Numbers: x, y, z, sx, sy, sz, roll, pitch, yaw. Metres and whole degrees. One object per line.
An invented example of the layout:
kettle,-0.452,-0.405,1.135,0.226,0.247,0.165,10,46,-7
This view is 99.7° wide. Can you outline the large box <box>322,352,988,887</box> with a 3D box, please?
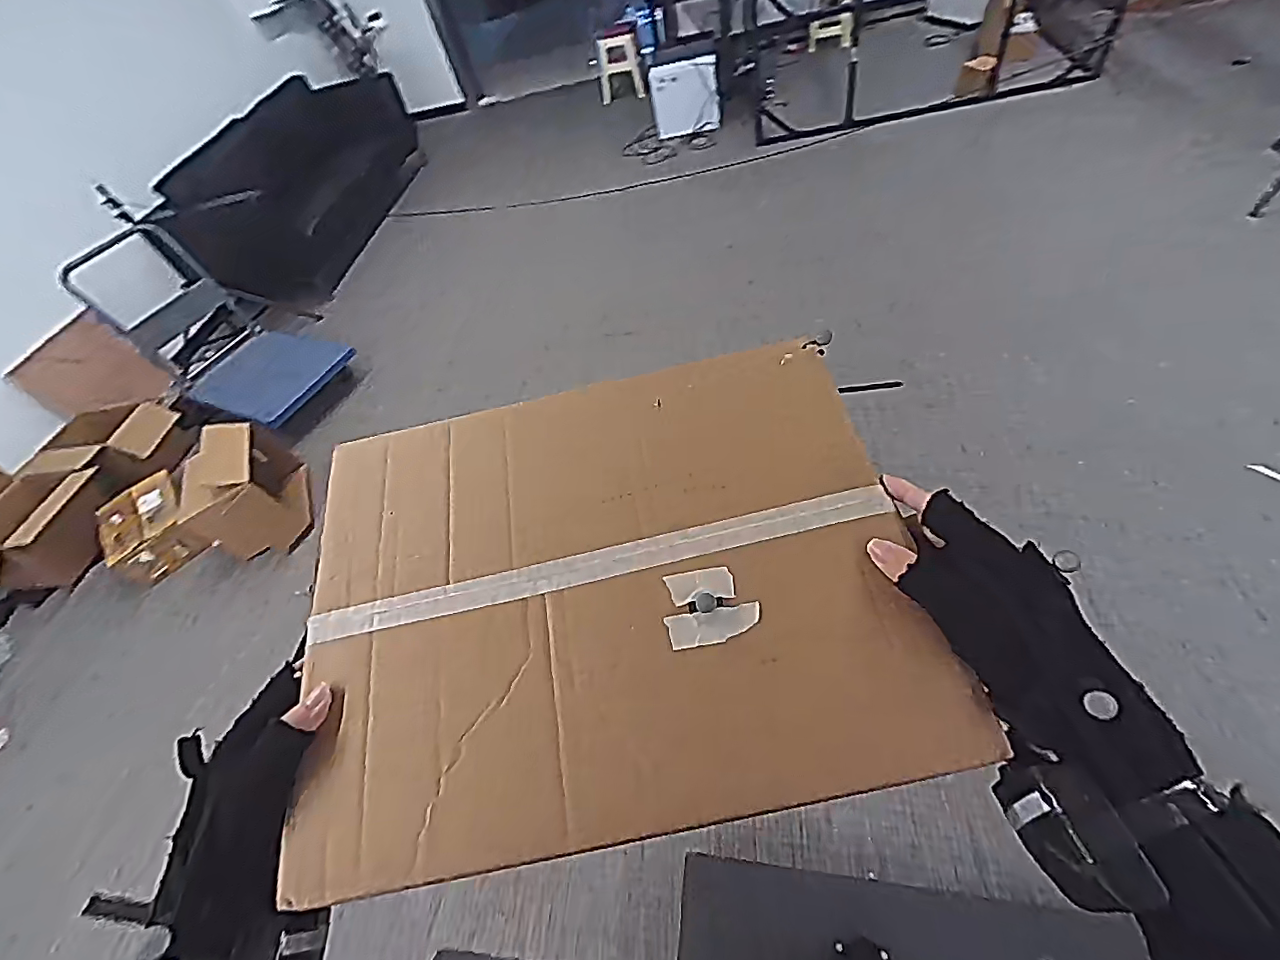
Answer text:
large box,-0.002,0.137,0.512,0.408,0.320,0.320,-12,60,1
